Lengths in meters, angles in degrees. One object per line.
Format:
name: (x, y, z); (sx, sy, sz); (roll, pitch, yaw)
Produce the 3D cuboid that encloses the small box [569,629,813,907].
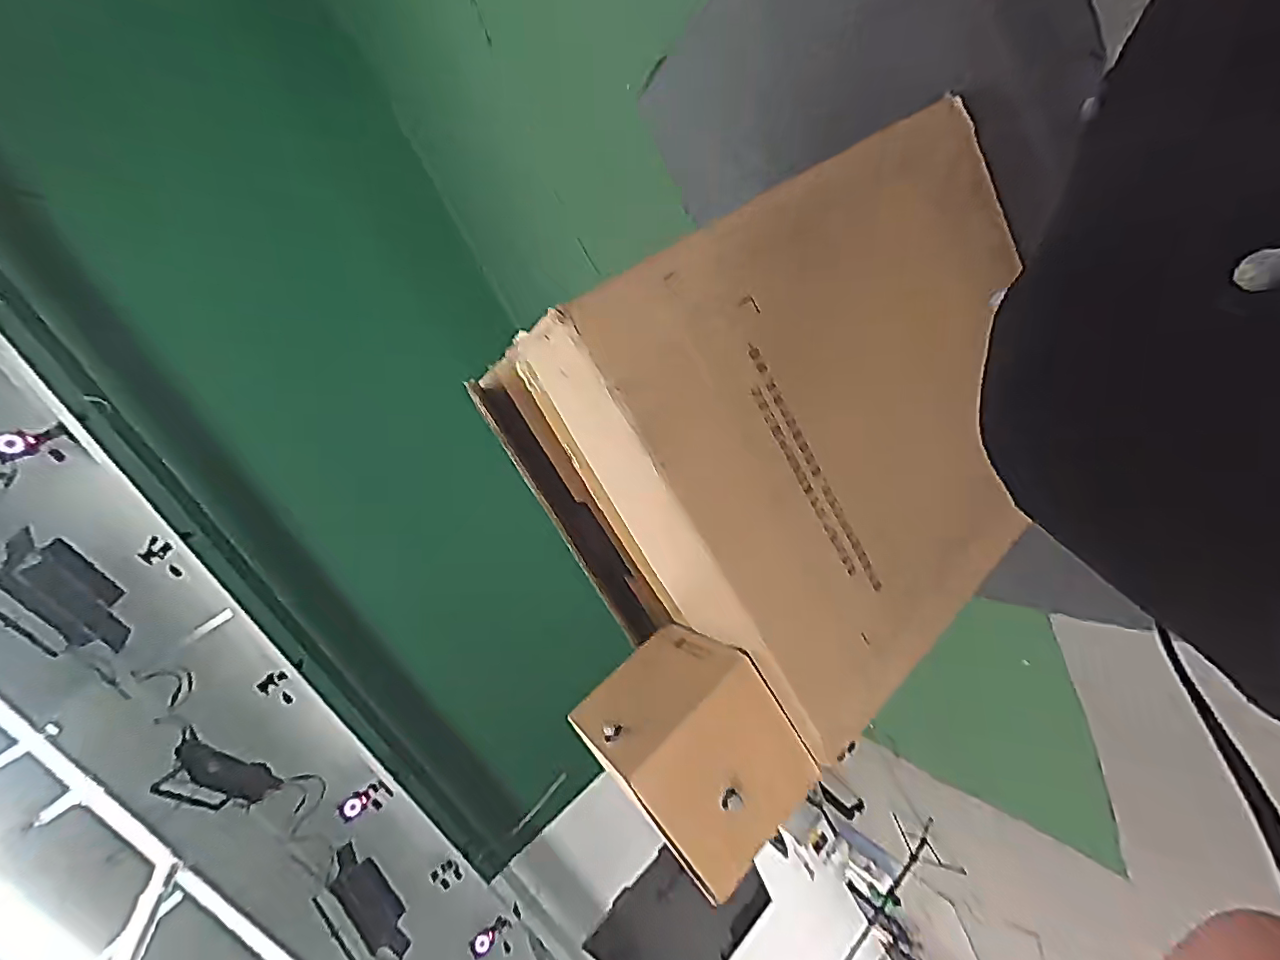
small box: (0.057, 0.300, 0.603); (0.179, 0.176, 0.168); (57, 156, -13)
